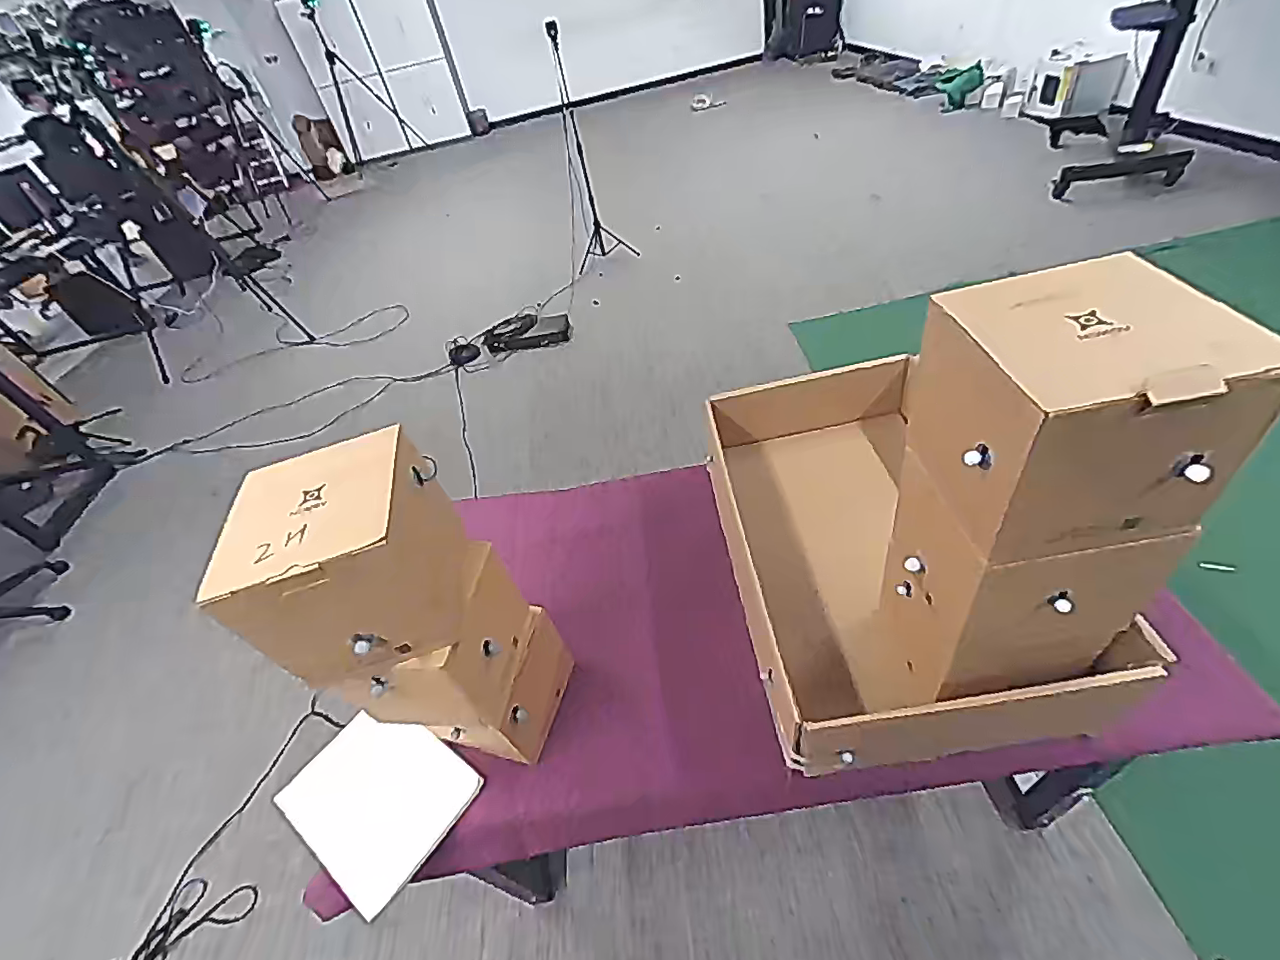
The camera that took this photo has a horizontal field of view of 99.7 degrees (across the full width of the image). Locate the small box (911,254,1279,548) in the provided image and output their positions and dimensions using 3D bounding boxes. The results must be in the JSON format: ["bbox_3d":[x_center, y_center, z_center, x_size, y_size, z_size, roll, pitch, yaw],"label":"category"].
[{"bbox_3d":[0.353,-0.059,0.458,0.168,0.176,0.179,-11,43,6],"label":"small box"}]

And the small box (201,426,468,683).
[{"bbox_3d":[-0.291,0.078,0.566,0.168,0.176,0.179,-19,44,-3],"label":"small box"}]

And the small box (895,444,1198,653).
[{"bbox_3d":[0.390,0.059,0.565,0.179,0.176,0.168,-12,43,7],"label":"small box"}]

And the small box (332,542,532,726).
[{"bbox_3d":[-0.254,0.193,0.677,0.179,0.176,0.168,-3,45,13],"label":"small box"}]
